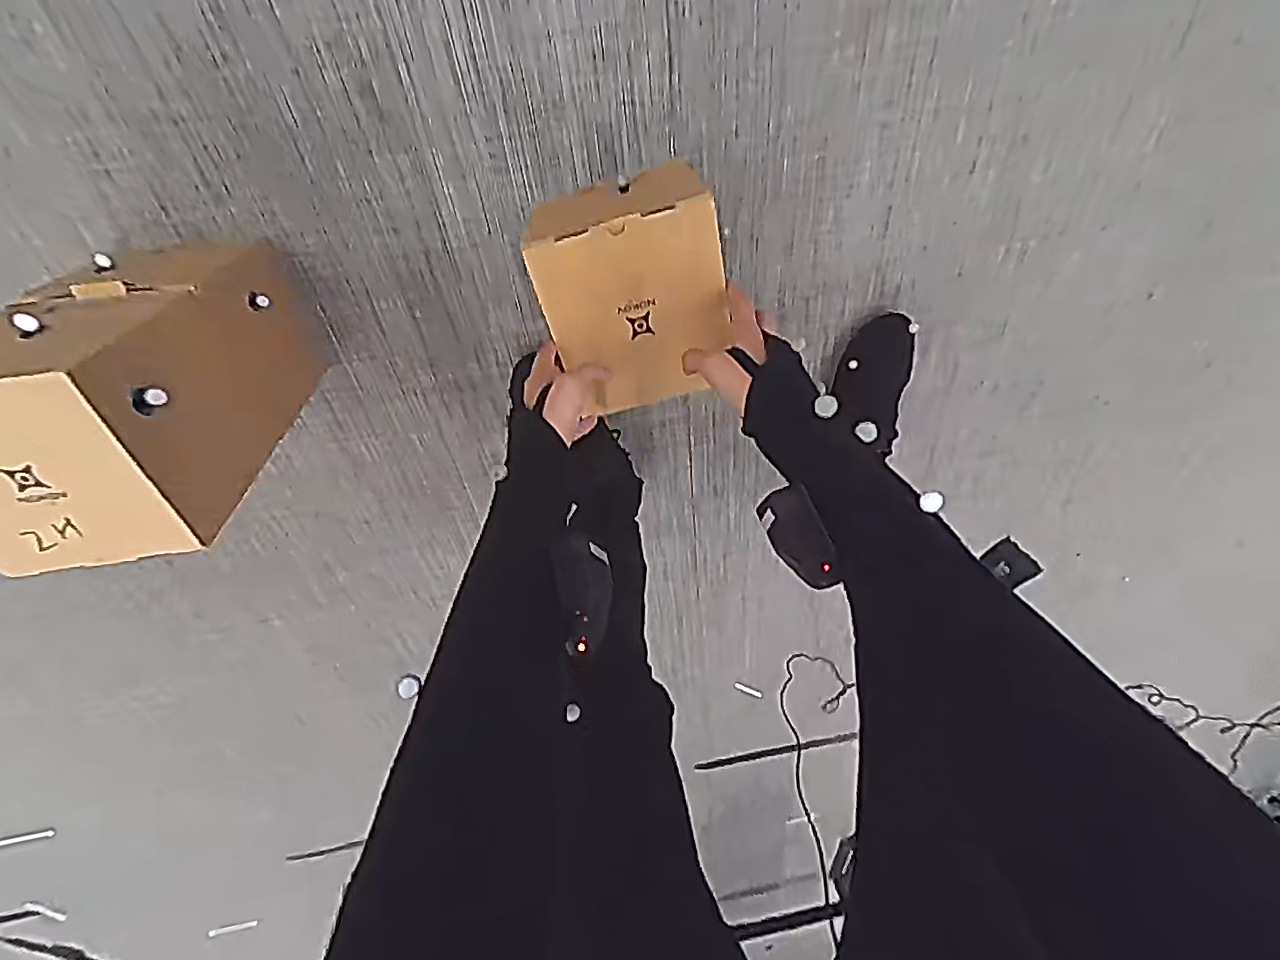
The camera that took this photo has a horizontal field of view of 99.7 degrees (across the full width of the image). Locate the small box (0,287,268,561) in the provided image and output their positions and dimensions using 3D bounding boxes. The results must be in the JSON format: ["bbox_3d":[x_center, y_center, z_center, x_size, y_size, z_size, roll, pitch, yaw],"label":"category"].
[{"bbox_3d":[-0.476,-0.058,0.474,0.168,0.176,0.179,-8,129,-4],"label":"small box"}]

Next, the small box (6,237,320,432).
[{"bbox_3d":[-0.494,-0.161,0.601,0.168,0.176,0.179,-7,128,-5],"label":"small box"}]

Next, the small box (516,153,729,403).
[{"bbox_3d":[-0.012,-0.210,0.557,0.168,0.176,0.179,-13,128,5],"label":"small box"}]
